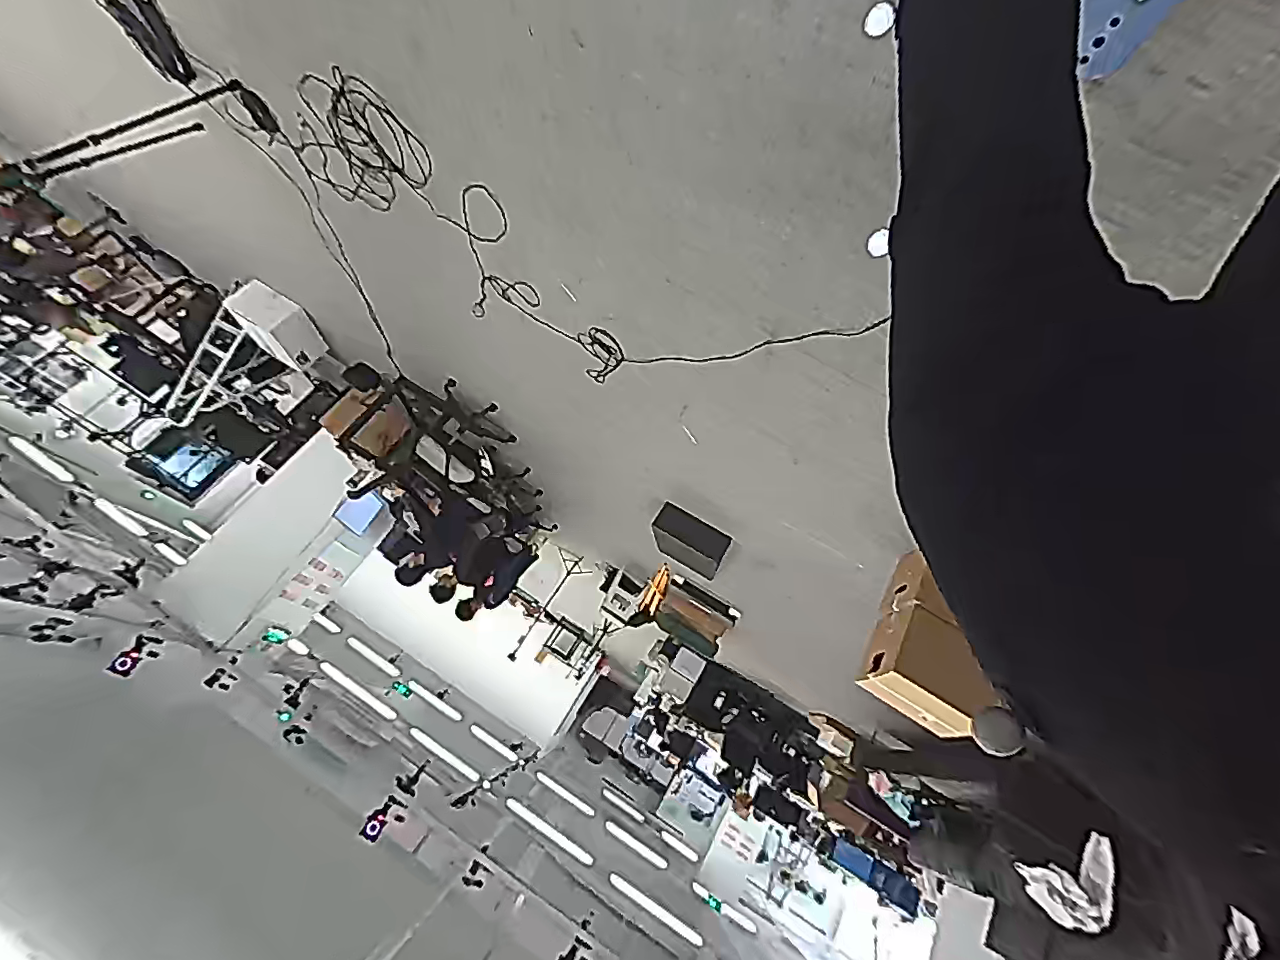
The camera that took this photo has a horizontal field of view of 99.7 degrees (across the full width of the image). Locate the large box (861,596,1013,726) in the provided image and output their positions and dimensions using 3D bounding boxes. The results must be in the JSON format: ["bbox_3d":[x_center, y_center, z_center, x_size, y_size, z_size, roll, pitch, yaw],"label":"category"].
[{"bbox_3d":[1.186,0.730,2.178,0.408,0.320,0.320,30,154,8],"label":"large box"}]
